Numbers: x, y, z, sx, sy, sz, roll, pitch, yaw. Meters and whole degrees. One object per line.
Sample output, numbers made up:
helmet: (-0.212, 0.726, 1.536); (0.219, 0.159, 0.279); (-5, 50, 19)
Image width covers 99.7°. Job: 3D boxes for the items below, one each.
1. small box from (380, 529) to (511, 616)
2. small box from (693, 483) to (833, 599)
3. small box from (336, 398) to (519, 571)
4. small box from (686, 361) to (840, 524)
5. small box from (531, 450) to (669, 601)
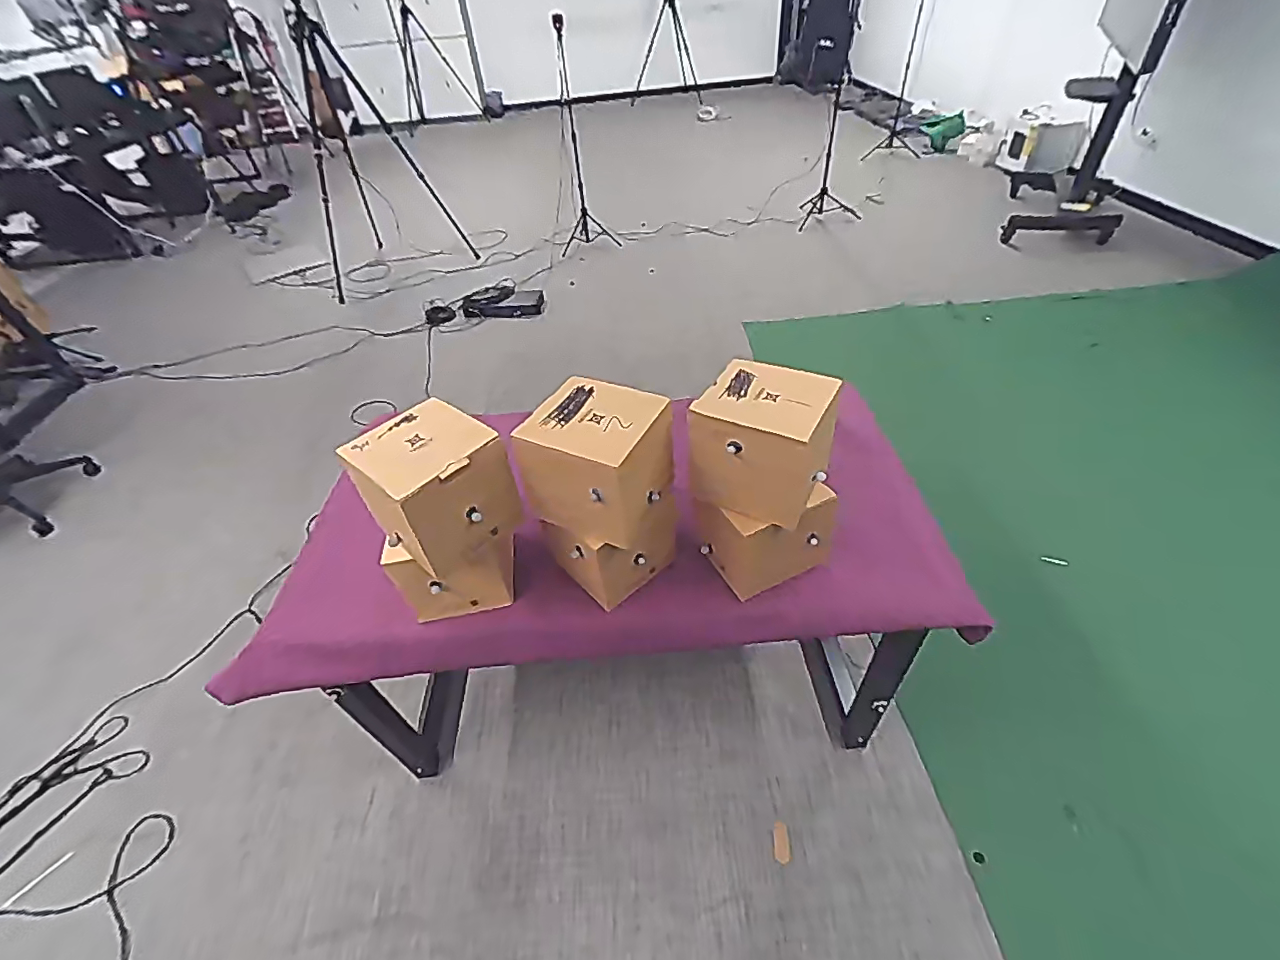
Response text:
small box: (-0.324, 0.117, 0.937); (0.168, 0.176, 0.179); (-10, 42, -5)
small box: (0.200, 0.071, 0.934); (0.179, 0.176, 0.168); (-21, 44, -15)
small box: (-0.306, 0.010, 0.809); (0.179, 0.176, 0.168); (29, 52, 31)
small box: (0.185, -0.058, 0.833); (0.179, 0.176, 0.168); (20, 47, 25)
small box: (-0.061, 0.085, 0.941); (0.168, 0.176, 0.179); (-32, 49, -27)
